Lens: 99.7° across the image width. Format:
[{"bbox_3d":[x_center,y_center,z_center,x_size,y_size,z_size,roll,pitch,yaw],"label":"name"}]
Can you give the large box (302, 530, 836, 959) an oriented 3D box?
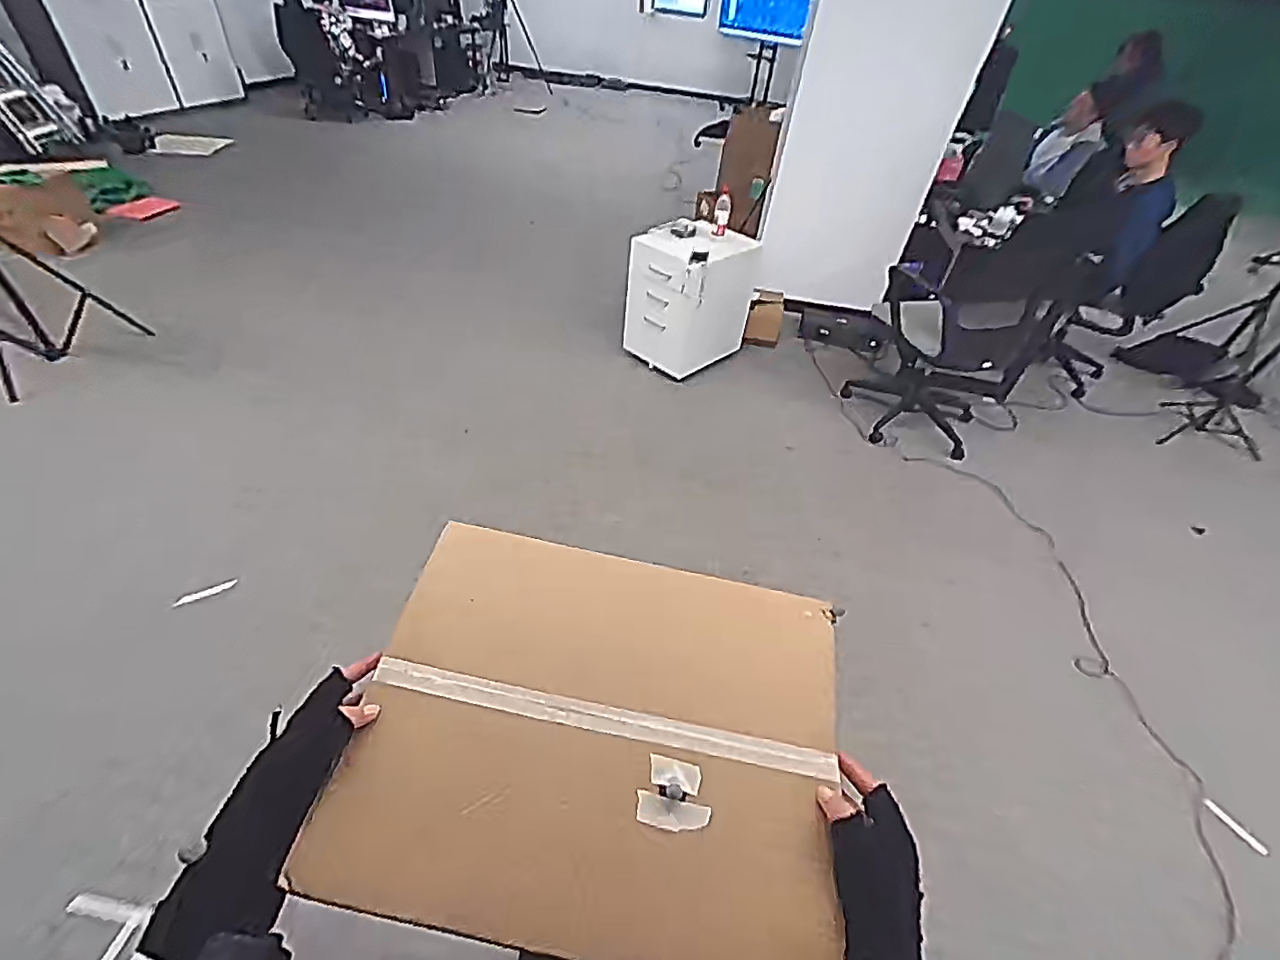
[{"bbox_3d":[-0.046,0.298,0.596,0.408,0.320,0.320,13,53,1],"label":"large box"}]
